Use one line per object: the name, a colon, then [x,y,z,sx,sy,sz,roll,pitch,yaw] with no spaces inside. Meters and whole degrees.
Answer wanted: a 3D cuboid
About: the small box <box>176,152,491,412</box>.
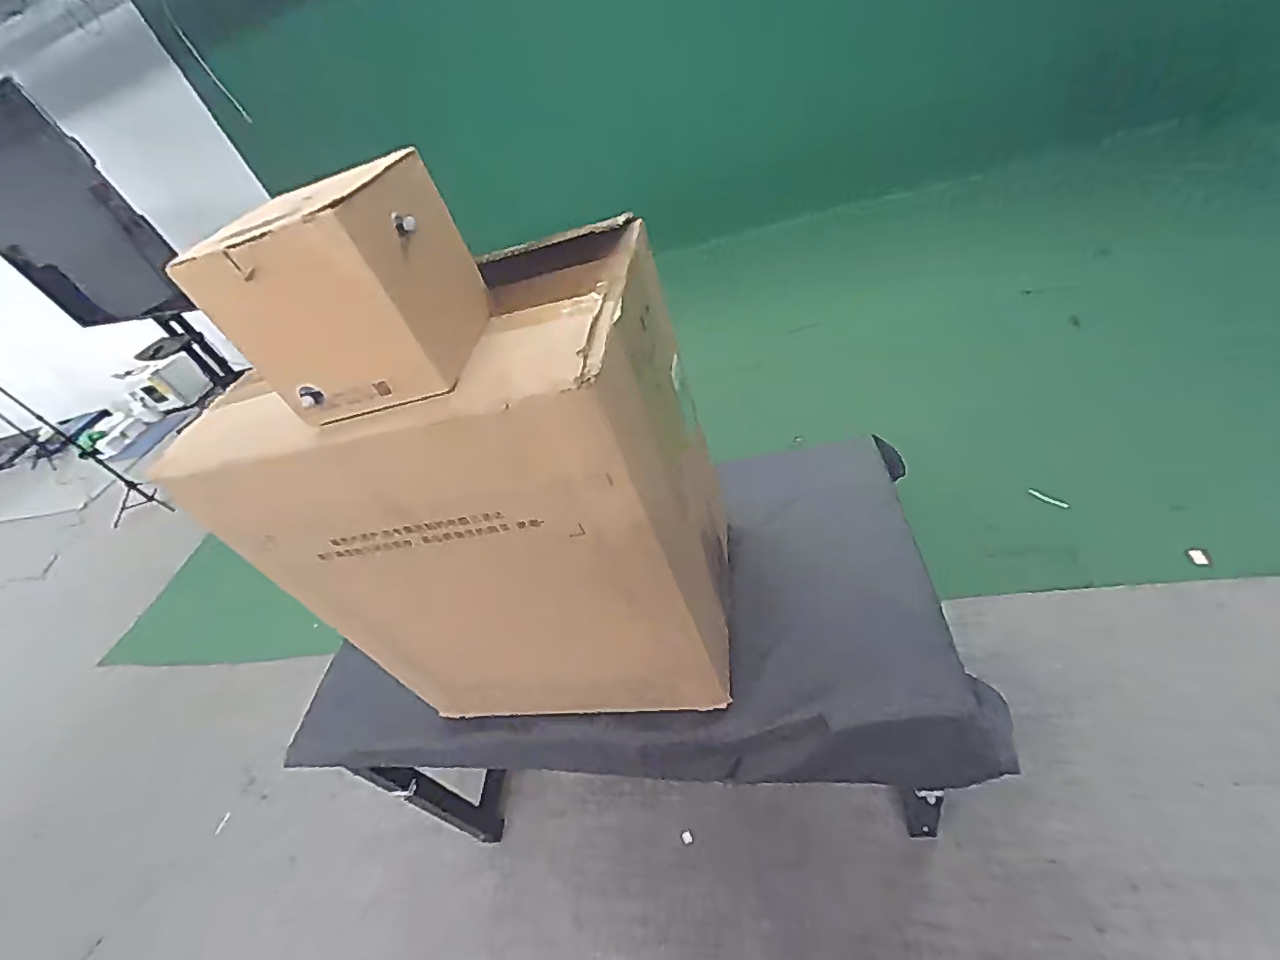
small box: [-0.269,-0.182,0.526,0.168,0.176,0.179,-10,42,14]
